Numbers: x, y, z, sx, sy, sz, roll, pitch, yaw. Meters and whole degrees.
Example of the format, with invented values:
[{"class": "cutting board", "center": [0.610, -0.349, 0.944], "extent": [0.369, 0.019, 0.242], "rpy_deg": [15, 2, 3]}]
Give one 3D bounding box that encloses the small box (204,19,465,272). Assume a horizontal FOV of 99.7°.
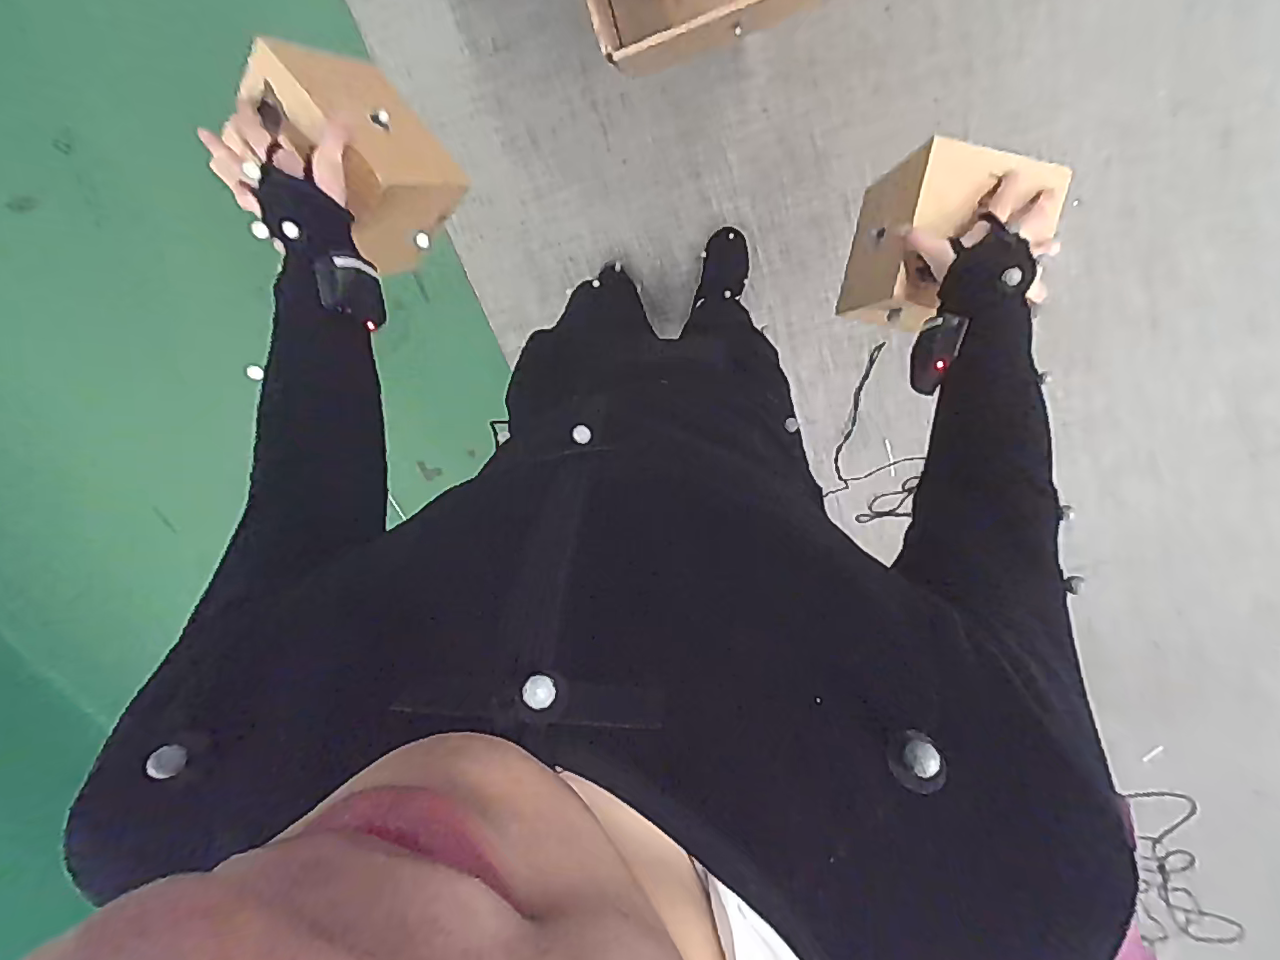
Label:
[{"class": "small box", "center": [-0.351, -0.382, 0.644], "extent": [0.168, 0.176, 0.179], "rpy_deg": [-34, 104, 32]}]
